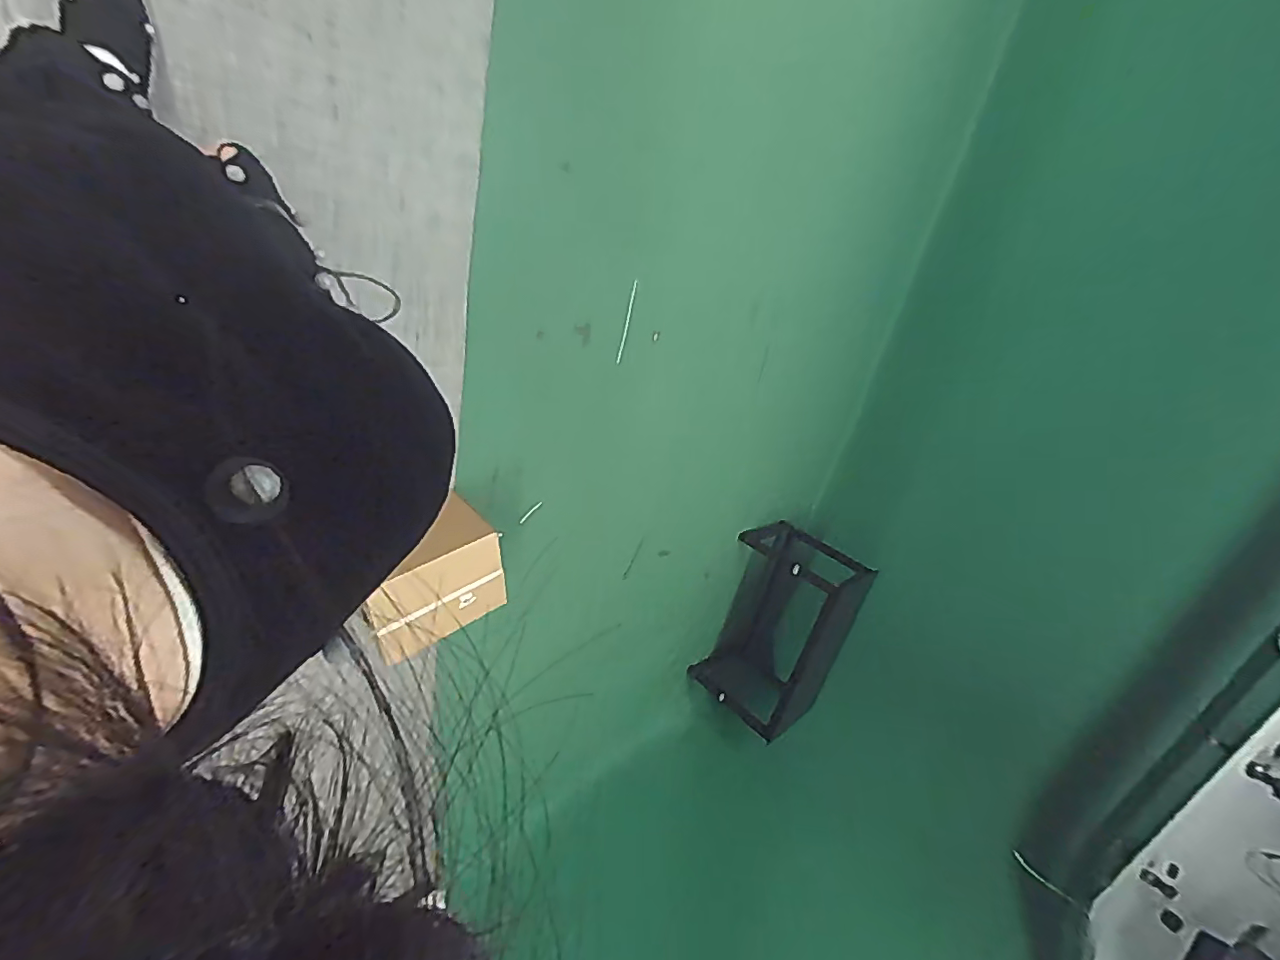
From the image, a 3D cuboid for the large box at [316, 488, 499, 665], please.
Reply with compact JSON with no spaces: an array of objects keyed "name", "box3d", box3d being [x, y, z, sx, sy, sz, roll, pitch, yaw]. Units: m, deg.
[{"name":"large box","box3d":[-0.709,0.281,1.689,0.408,0.320,0.320,-27,135,-37]}]
